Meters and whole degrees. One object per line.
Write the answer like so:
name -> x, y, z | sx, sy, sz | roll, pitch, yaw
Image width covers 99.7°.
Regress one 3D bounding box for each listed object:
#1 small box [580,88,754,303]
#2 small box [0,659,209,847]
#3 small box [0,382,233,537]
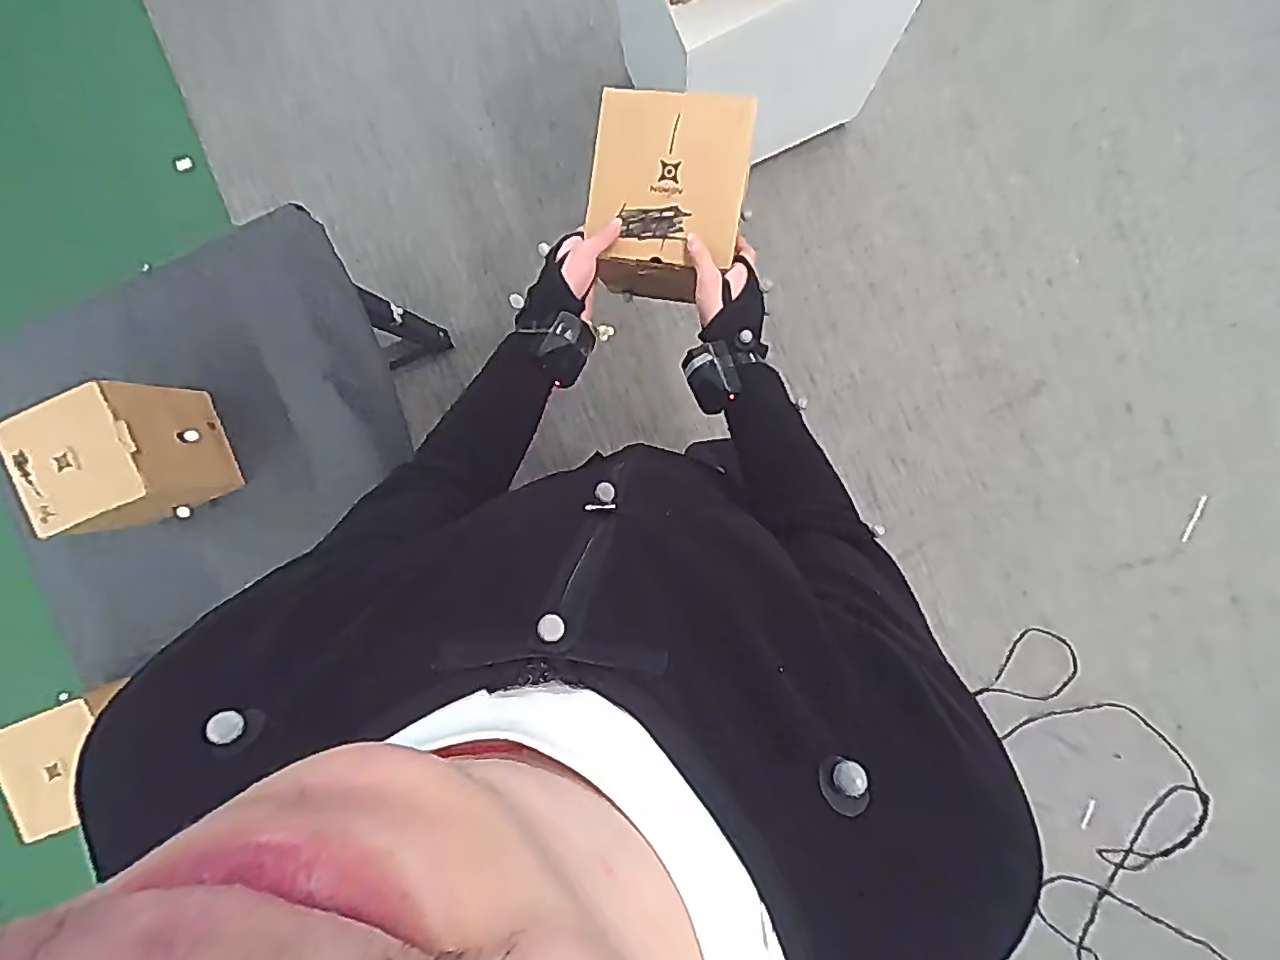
small box -> 0.036, -0.326, 0.654 | 0.168, 0.176, 0.179 | 10, 95, 6
small box -> -0.805, 0.397, 0.817 | 0.179, 0.176, 0.168 | -23, 91, 5
small box -> -0.754, -0.033, 0.801 | 0.179, 0.176, 0.168 | -21, 92, 3
